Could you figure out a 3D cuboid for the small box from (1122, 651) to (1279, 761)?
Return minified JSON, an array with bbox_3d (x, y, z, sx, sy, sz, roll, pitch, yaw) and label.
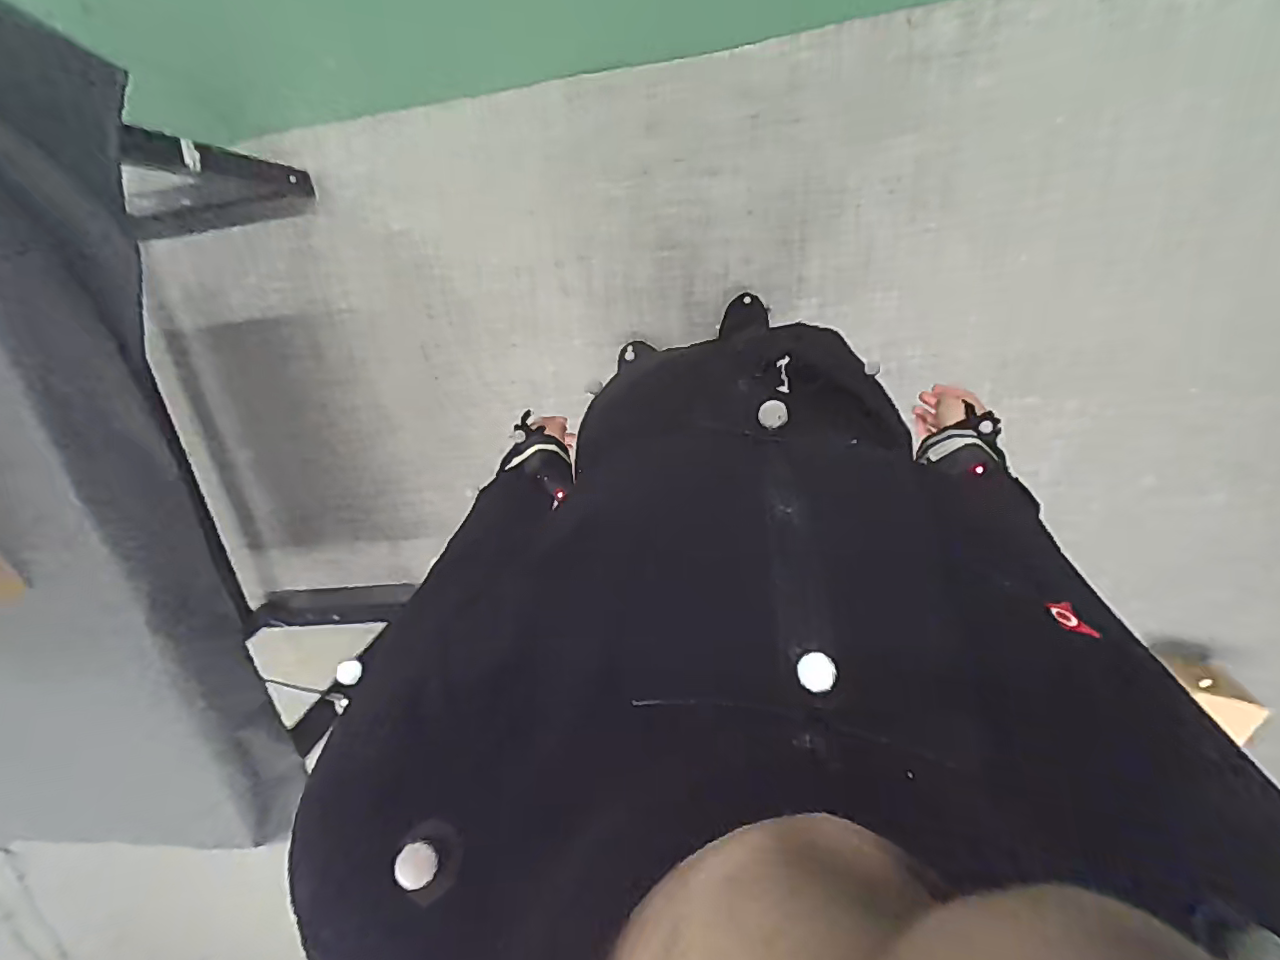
[{"bbox_3d":[1.377,0.553,1.341,0.179,0.176,0.168,13,112,3],"label":"small box"}]
